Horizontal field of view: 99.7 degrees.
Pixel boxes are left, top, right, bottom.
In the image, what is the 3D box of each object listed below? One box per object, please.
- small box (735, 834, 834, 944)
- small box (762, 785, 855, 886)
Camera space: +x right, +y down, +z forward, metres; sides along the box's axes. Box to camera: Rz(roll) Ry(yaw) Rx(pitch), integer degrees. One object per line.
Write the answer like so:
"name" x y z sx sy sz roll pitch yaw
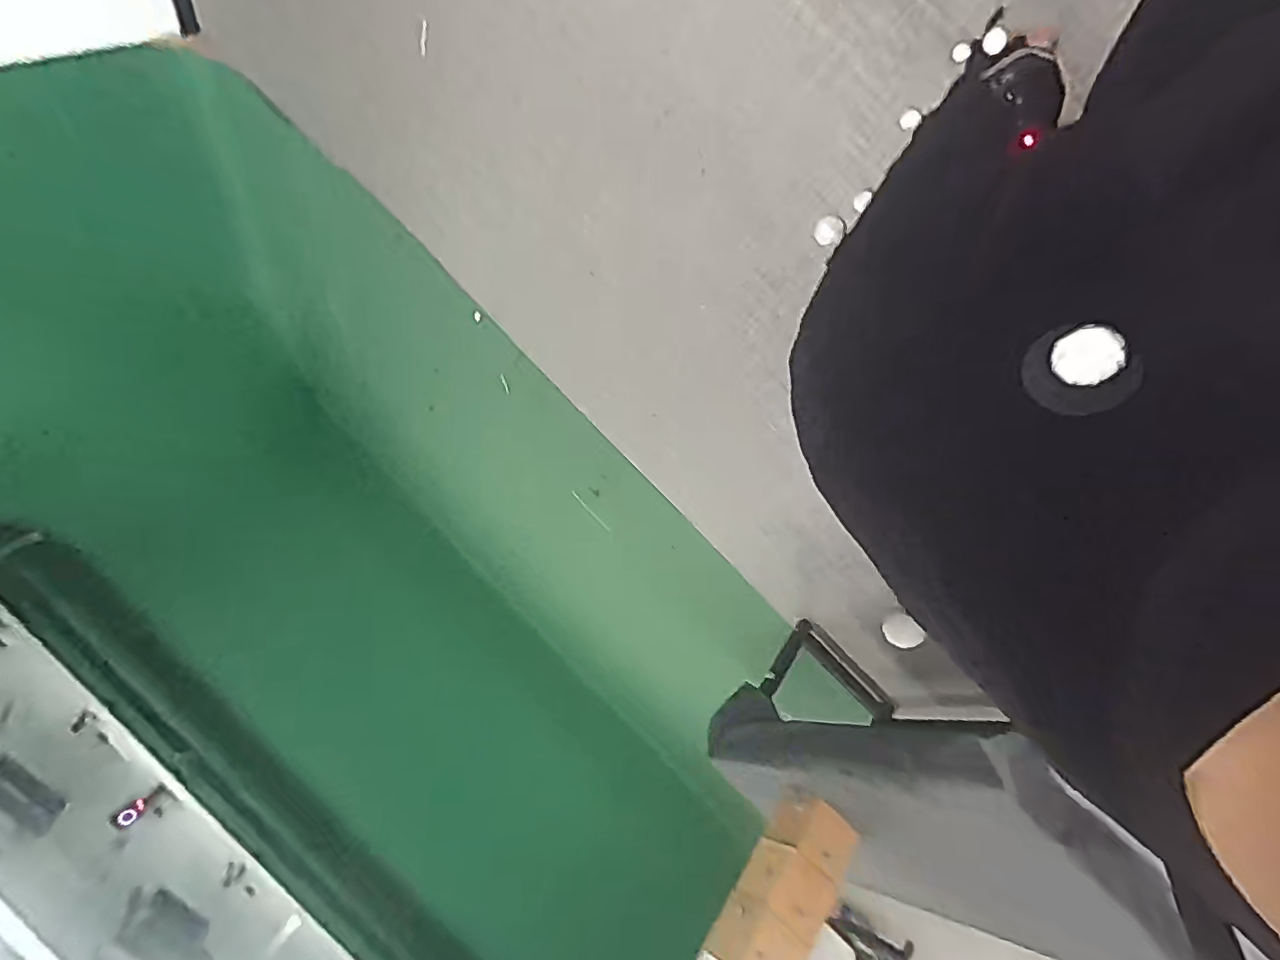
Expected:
"small box" 0.411 1.151 1.538 0.179 0.176 0.168 45 147 -2
"small box" 0.512 1.061 1.629 0.179 0.176 0.168 47 147 -1
